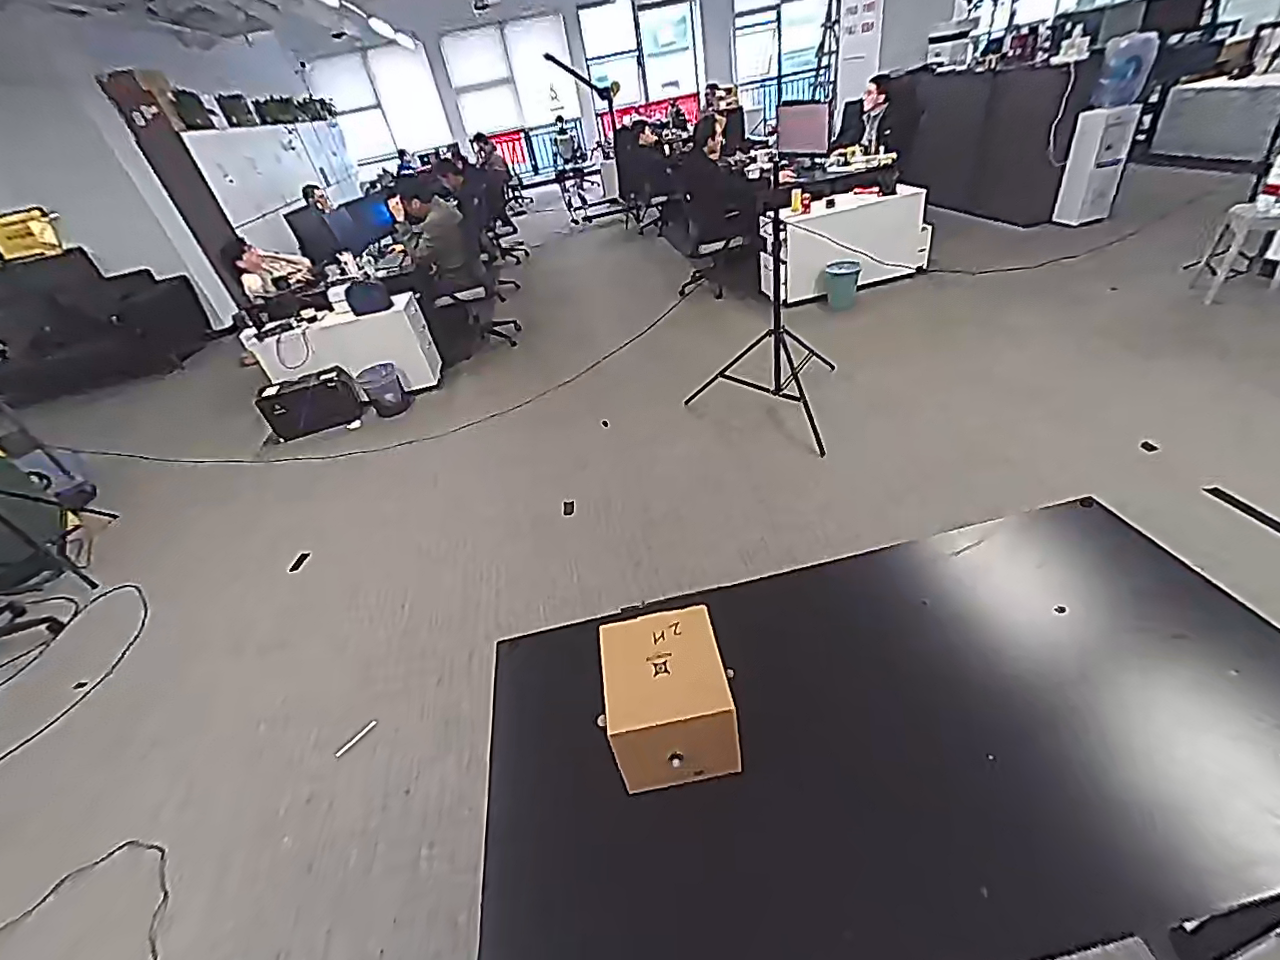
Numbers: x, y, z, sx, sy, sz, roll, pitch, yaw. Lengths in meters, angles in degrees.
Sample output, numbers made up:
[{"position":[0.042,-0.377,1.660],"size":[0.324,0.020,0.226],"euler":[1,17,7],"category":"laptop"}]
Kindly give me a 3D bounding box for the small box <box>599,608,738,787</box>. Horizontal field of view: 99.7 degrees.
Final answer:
[{"position":[0.041,0.323,0.794],"size":[0.168,0.176,0.179],"euler":[-12,35,0],"category":"small box"}]
